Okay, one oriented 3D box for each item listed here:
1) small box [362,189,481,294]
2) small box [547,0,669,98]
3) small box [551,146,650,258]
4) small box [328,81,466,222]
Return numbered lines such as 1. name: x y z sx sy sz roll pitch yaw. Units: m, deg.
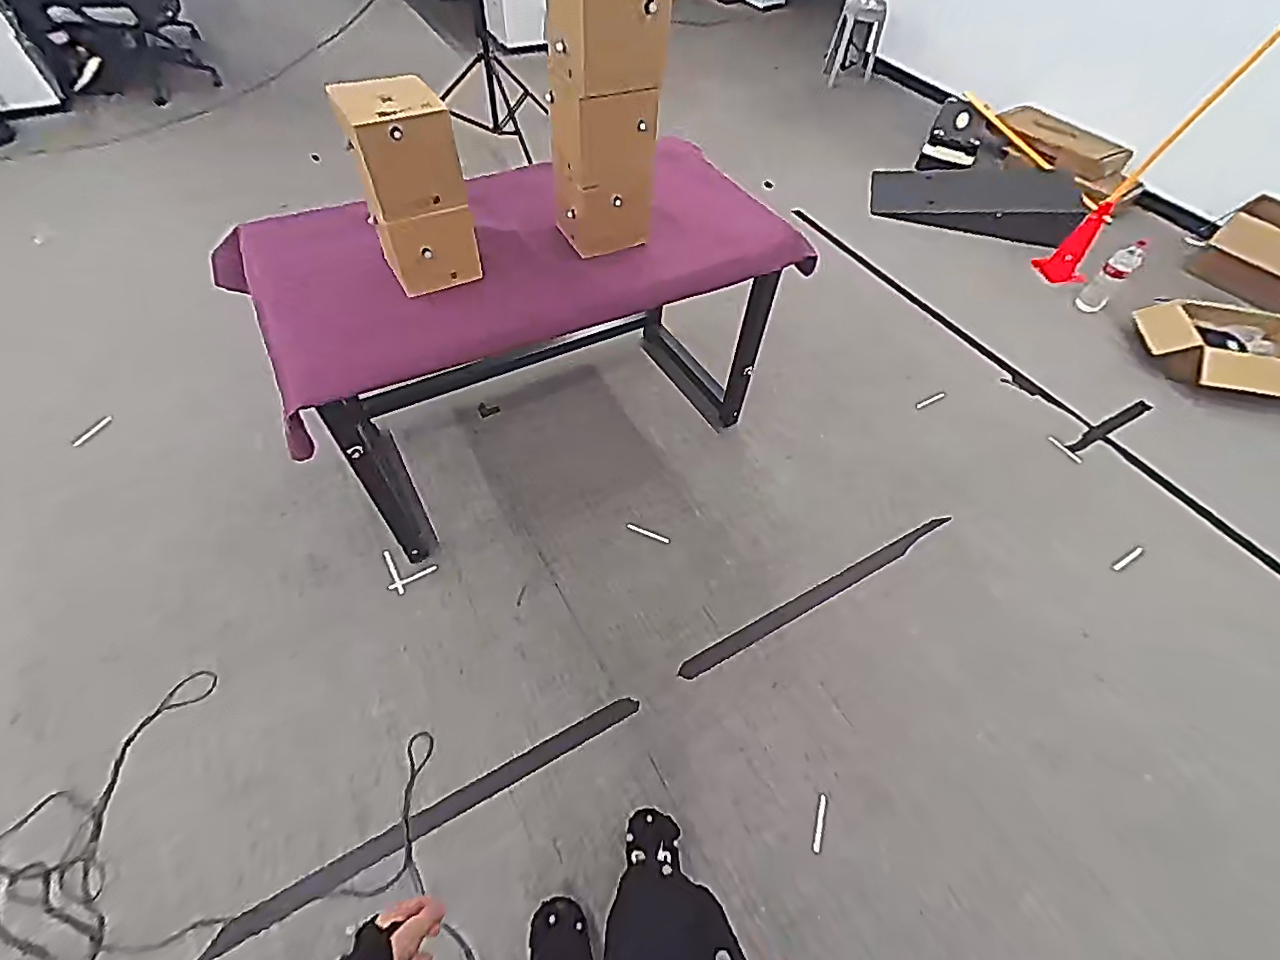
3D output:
1. small box: -0.457 -0.517 1.149 0.168 0.176 0.179 -25 59 -20
2. small box: -0.065 -0.839 0.998 0.179 0.176 0.168 -23 59 -18
3. small box: -0.093 -0.647 1.265 0.179 0.176 0.168 -22 60 -19
4. small box: -0.452 -0.617 1.020 0.168 0.176 0.179 -27 59 -20
